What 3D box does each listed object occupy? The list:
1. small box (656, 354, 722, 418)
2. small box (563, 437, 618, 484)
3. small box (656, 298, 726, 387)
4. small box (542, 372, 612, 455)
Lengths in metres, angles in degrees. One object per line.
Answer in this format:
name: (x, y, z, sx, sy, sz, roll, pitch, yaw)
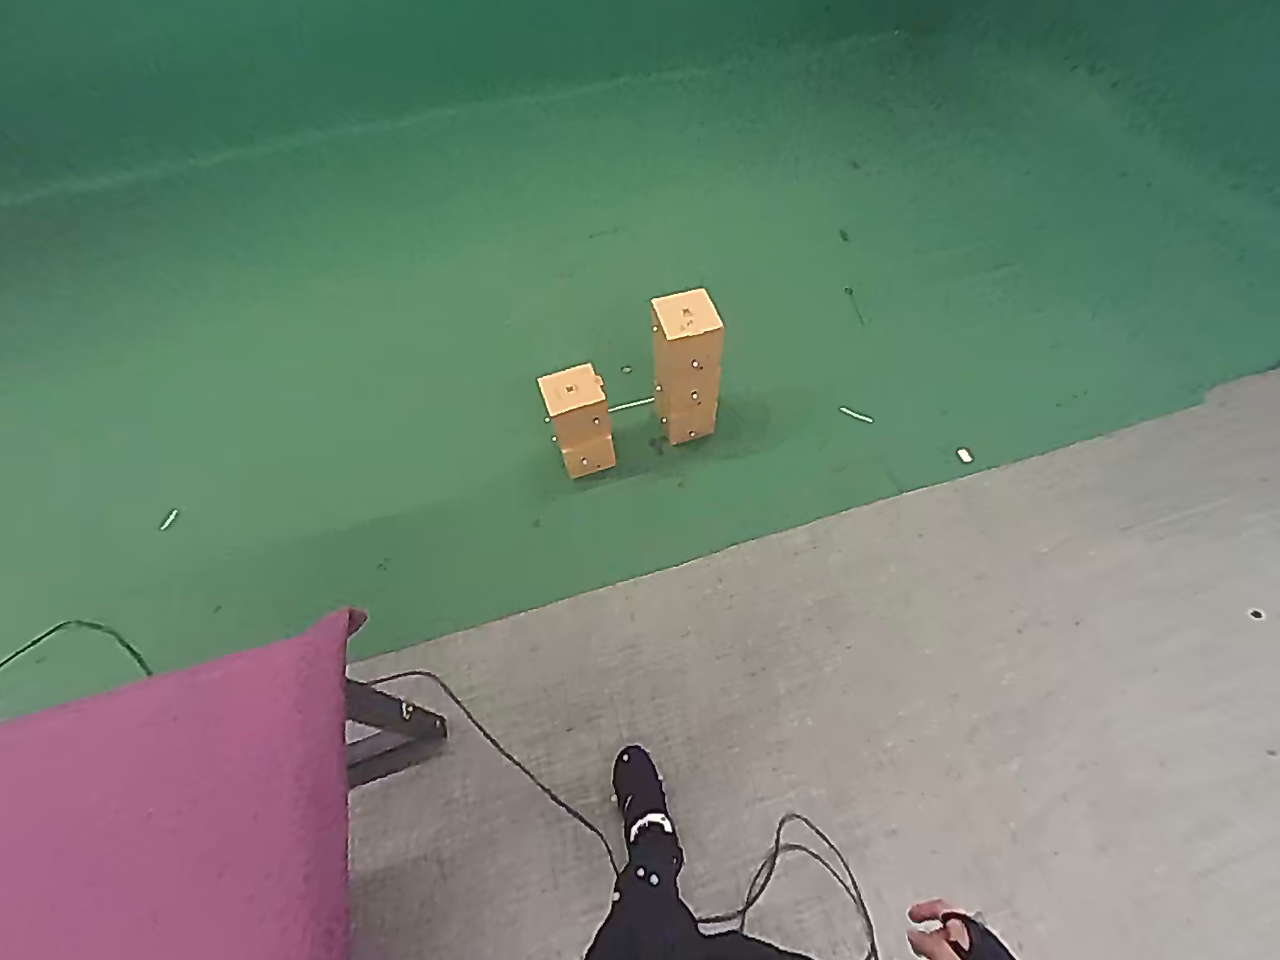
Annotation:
small box: (0.156, -0.318, 1.750, 0.168, 0.176, 0.179, -15, 59, -7)
small box: (-0.180, -0.106, 1.830, 0.168, 0.176, 0.179, -18, 58, -8)
small box: (0.145, -0.406, 1.611, 0.168, 0.176, 0.179, -14, 59, -6)
small box: (-0.192, -0.206, 1.702, 0.179, 0.176, 0.168, -18, 57, -7)
